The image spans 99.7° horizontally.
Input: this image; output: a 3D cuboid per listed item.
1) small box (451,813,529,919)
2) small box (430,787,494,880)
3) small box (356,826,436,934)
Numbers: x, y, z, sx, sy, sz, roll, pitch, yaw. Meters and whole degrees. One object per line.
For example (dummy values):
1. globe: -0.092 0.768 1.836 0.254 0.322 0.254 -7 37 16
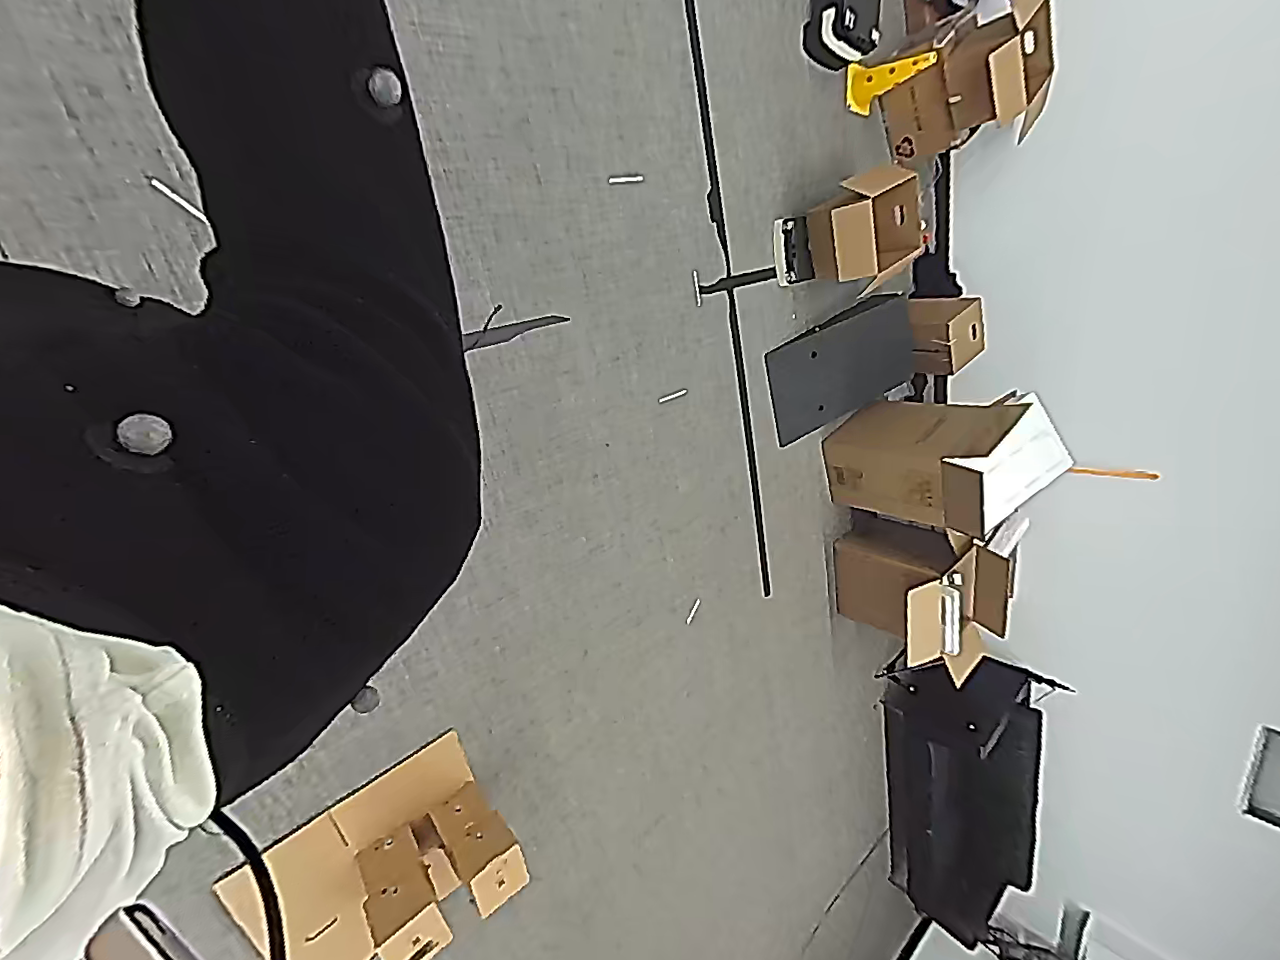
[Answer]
1. small box: -0.475 1.209 1.708 0.168 0.176 0.179 -23 113 -35
2. small box: -0.588 1.179 1.825 0.168 0.176 0.179 -23 113 -34
3. small box: -0.765 1.243 1.694 0.168 0.176 0.179 -22 113 -34
